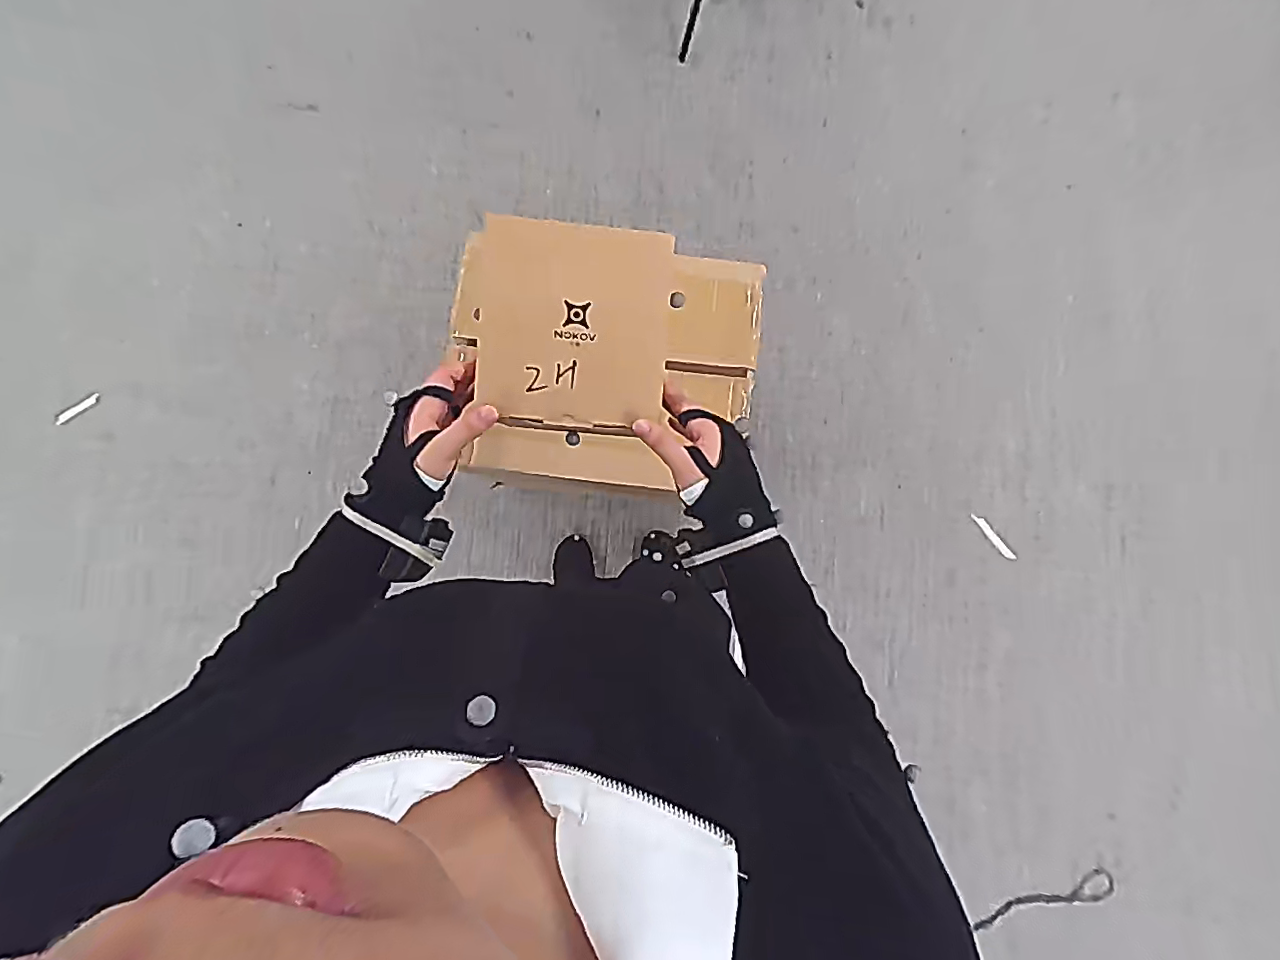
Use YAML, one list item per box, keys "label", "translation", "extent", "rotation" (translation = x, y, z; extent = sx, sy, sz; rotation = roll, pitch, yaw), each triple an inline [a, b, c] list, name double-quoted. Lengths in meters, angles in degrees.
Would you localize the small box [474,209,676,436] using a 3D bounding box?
- label: "small box"
  translation: [-0.062, -0.143, 0.551]
  extent: [0.168, 0.176, 0.179]
  rotation: [4, 92, -4]
